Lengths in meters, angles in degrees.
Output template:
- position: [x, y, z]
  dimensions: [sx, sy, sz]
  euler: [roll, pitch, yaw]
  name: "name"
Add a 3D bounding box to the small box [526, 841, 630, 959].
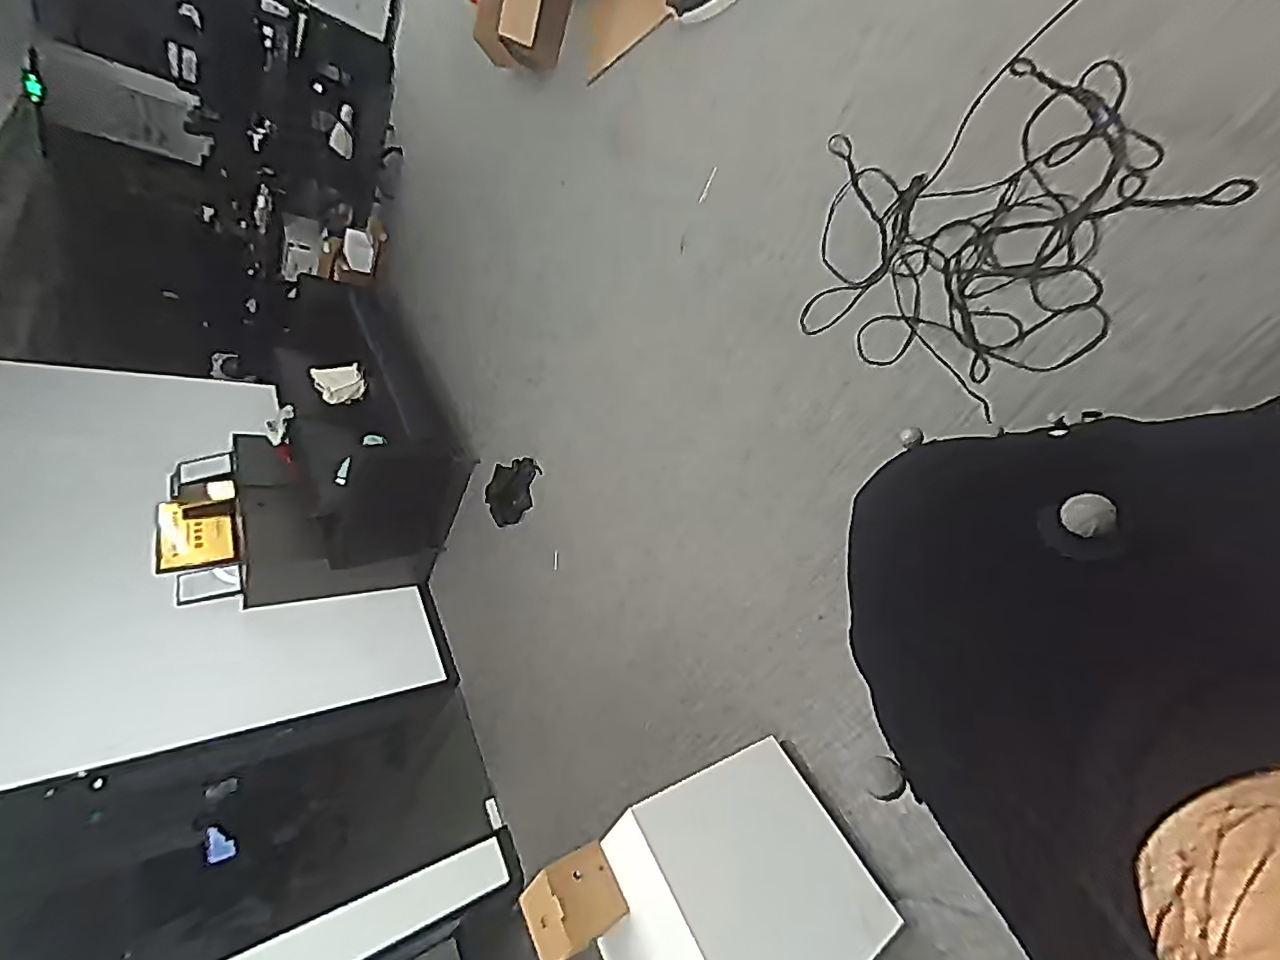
- position: [-0.146, 1.015, 1.301]
  dimensions: [0.168, 0.176, 0.179]
  euler: [52, 128, 36]
  name: "small box"
